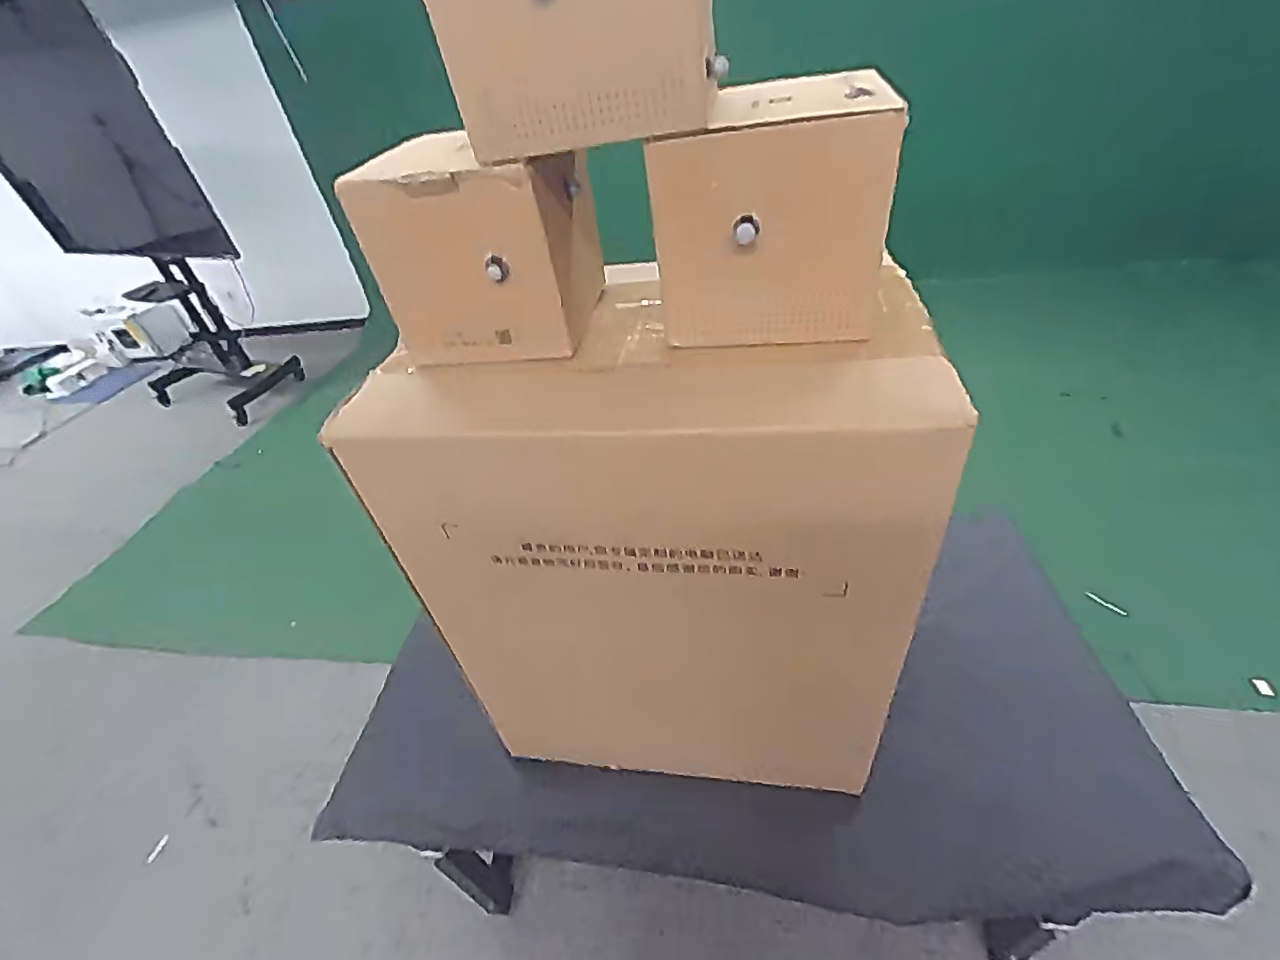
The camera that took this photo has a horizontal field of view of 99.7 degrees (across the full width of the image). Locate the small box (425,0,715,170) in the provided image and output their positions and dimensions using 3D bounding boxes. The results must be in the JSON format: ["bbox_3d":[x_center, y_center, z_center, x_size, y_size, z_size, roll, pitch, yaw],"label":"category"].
[{"bbox_3d":[-0.039,-0.348,0.397,0.179,0.176,0.168,-2,42,13],"label":"small box"}]

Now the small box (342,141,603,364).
[{"bbox_3d":[-0.139,-0.224,0.532,0.168,0.176,0.179,0,41,10],"label":"small box"}]

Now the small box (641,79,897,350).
[{"bbox_3d":[0.112,-0.228,0.478,0.179,0.176,0.168,0,43,13],"label":"small box"}]
